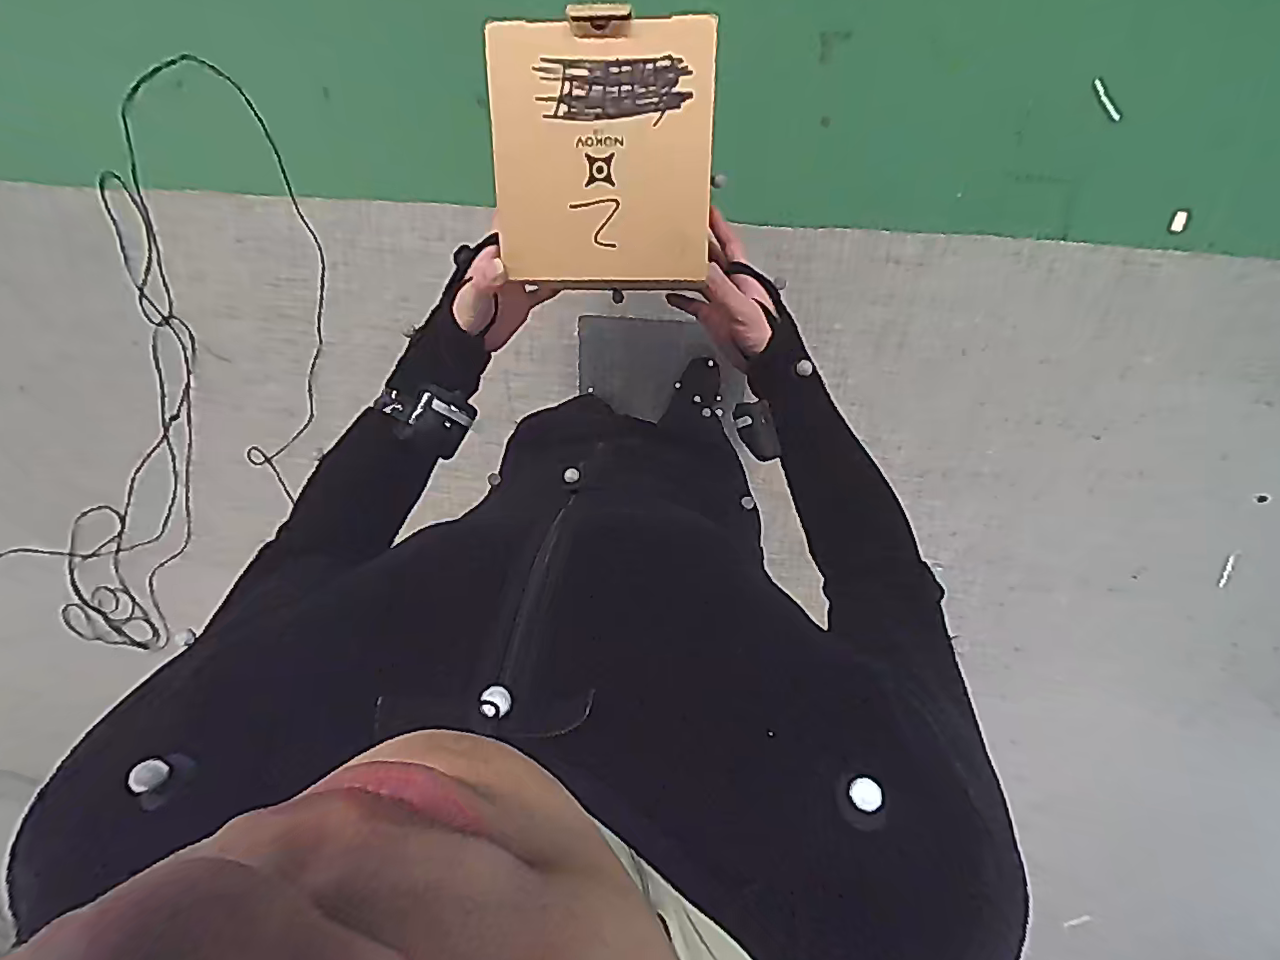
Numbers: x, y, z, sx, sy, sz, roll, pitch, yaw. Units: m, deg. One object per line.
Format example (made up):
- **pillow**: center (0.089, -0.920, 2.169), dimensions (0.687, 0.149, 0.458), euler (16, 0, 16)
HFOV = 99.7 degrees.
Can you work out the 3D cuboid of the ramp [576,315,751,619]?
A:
- **ramp**: center (0.047, 0.009, 1.692), dimensions (0.509, 0.206, 0.991), euler (4, 105, 6)
